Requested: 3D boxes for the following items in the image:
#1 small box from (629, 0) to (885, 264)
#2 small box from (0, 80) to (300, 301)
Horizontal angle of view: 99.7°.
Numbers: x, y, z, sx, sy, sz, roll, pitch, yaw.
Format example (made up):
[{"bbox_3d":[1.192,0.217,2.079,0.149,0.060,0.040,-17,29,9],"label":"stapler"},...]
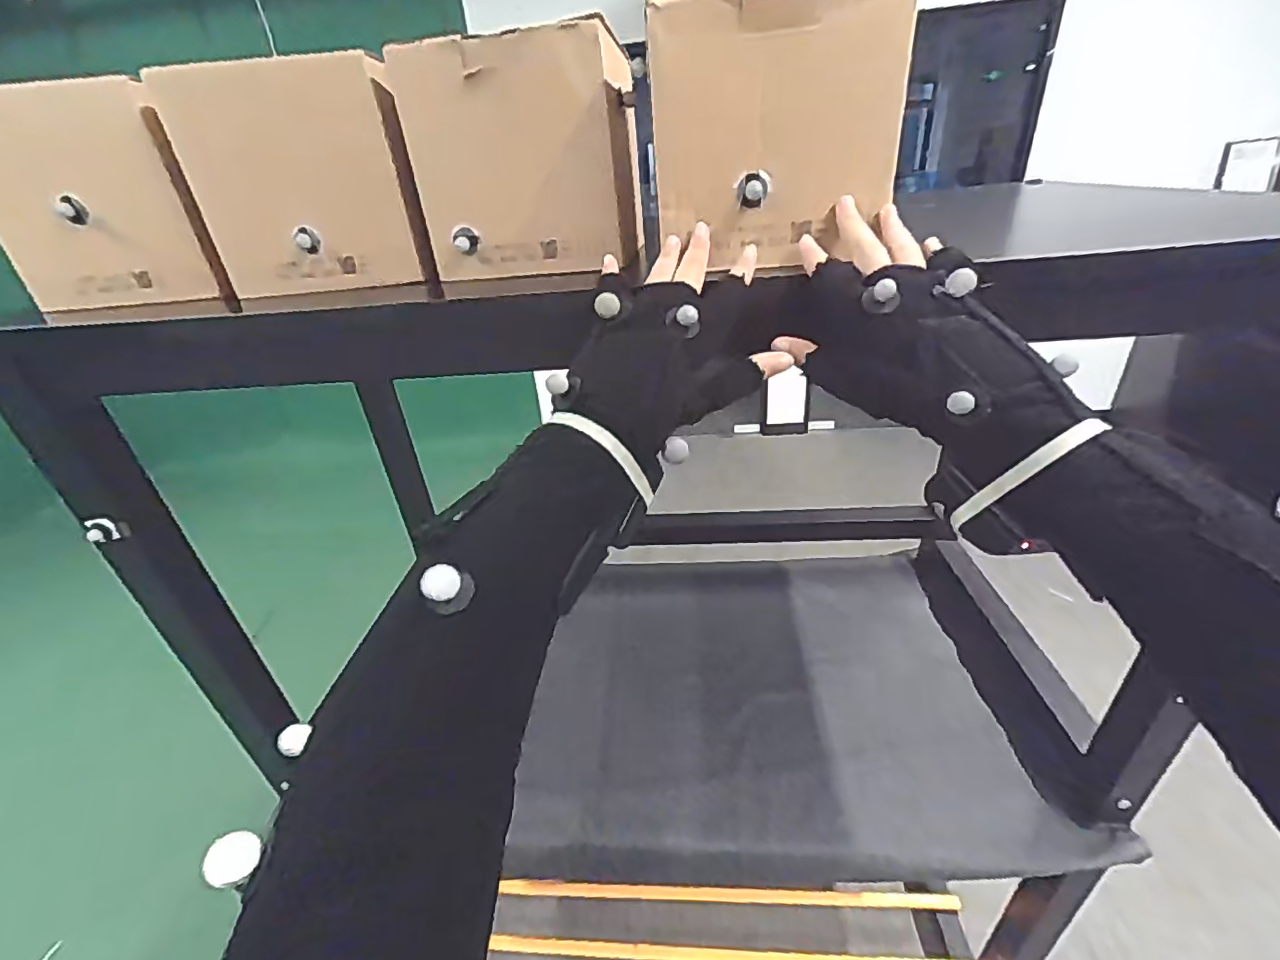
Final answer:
[{"bbox_3d":[0.086,-0.282,0.453,0.168,0.176,0.179,-2,30,7],"label":"small box"},{"bbox_3d":[-0.483,-0.279,0.542,0.168,0.176,0.179,-4,29,-1],"label":"small box"}]
